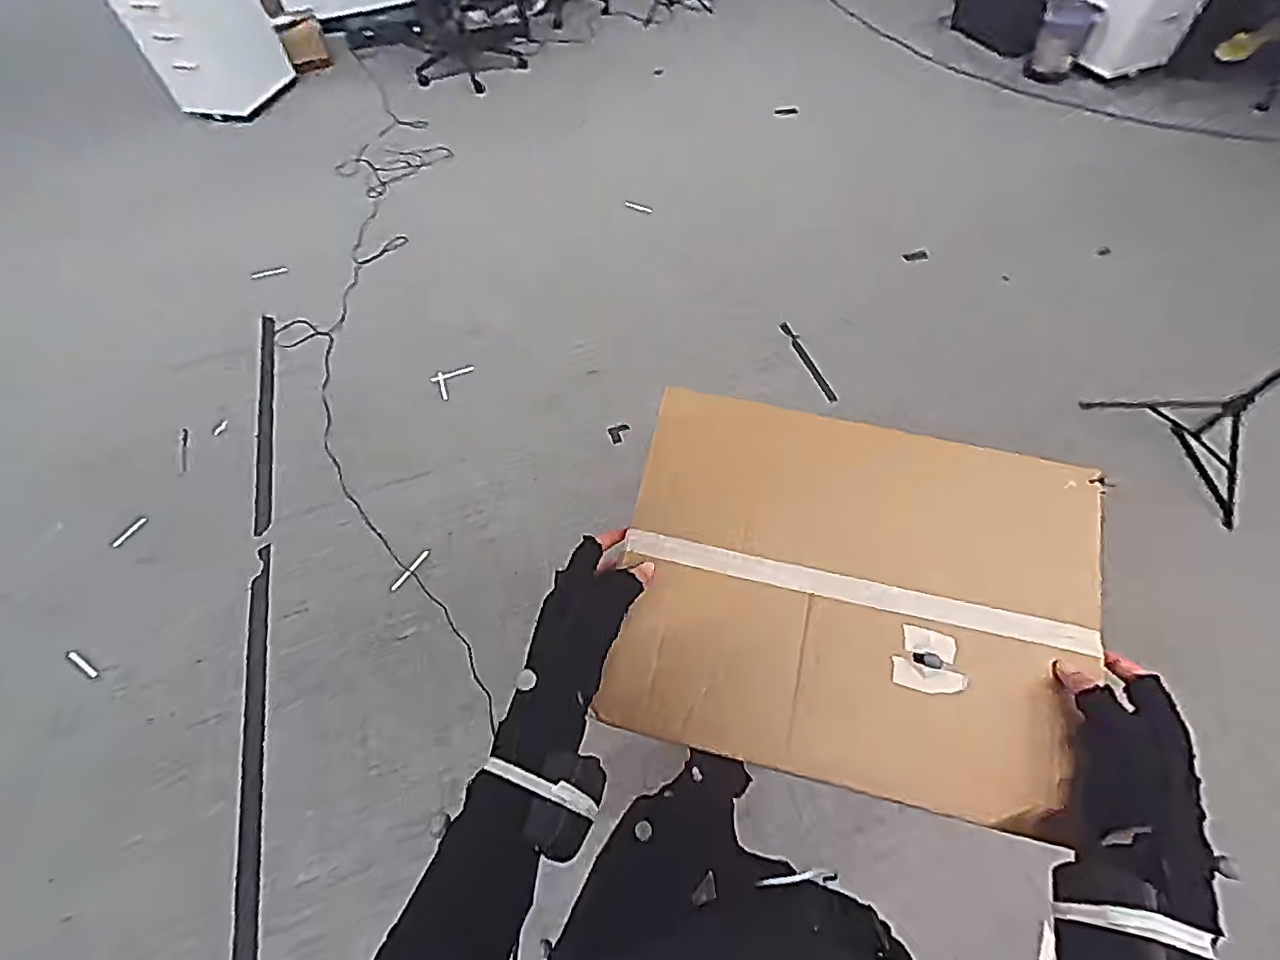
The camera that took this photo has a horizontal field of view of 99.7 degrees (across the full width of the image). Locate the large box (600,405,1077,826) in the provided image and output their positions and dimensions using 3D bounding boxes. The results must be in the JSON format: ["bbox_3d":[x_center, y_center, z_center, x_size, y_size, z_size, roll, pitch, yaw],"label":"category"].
[{"bbox_3d":[0.192,0.143,0.638,0.408,0.320,0.320,12,75,6],"label":"large box"}]
